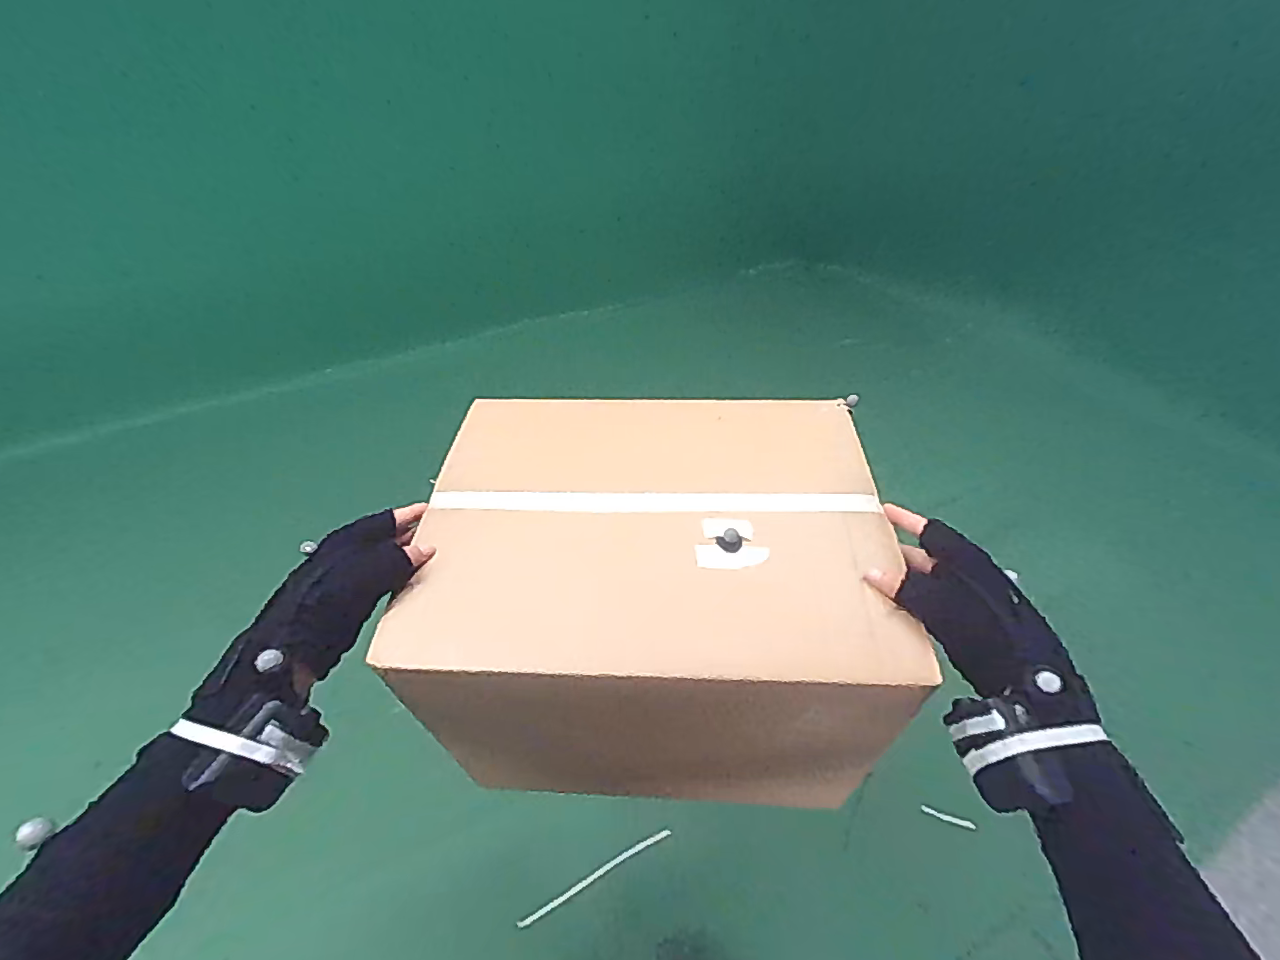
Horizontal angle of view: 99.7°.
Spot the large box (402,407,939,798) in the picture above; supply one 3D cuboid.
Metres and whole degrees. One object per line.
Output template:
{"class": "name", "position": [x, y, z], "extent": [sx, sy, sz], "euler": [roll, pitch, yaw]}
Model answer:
{"class": "large box", "position": [0.026, 0.134, 0.602], "extent": [0.408, 0.320, 0.320], "euler": [2, 46, 3]}
